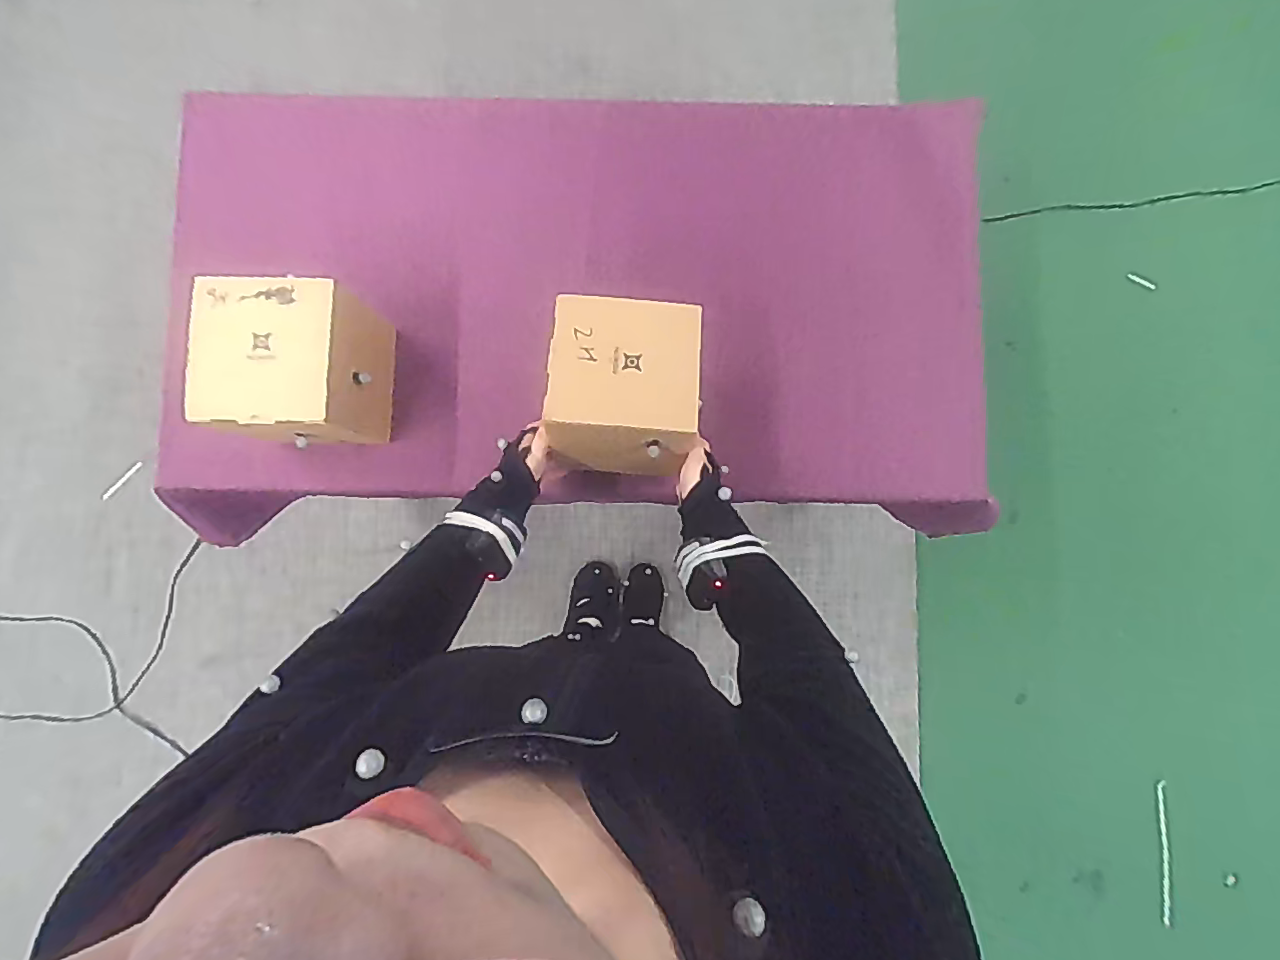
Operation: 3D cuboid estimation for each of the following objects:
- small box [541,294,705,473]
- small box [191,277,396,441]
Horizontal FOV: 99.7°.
[{"bbox_3d":[-0.019,-0.113,0.697,0.179,0.176,0.168,5,73,0],"label":"small box"},{"bbox_3d":[-0.441,-0.148,0.716,0.168,0.176,0.179,1,86,0],"label":"small box"}]
